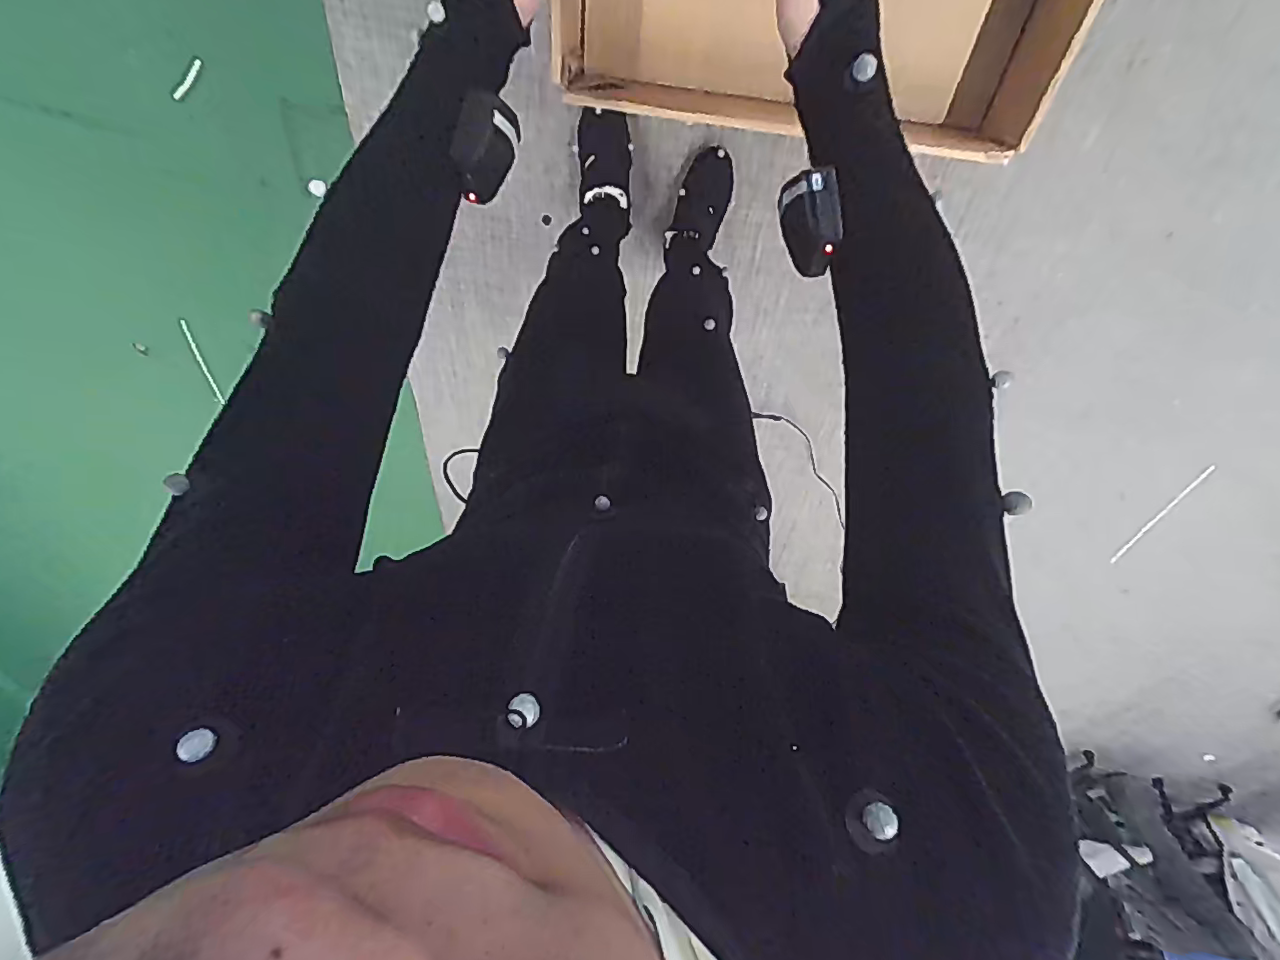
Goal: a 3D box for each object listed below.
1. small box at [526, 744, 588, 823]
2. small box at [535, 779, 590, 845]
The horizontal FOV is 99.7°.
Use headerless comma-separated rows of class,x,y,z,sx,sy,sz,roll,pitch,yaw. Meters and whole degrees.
small box,-0.259,0.969,1.726,0.168,0.176,0.179,5,134,0
small box,-0.268,1.161,1.908,0.168,0.176,0.179,4,132,0
